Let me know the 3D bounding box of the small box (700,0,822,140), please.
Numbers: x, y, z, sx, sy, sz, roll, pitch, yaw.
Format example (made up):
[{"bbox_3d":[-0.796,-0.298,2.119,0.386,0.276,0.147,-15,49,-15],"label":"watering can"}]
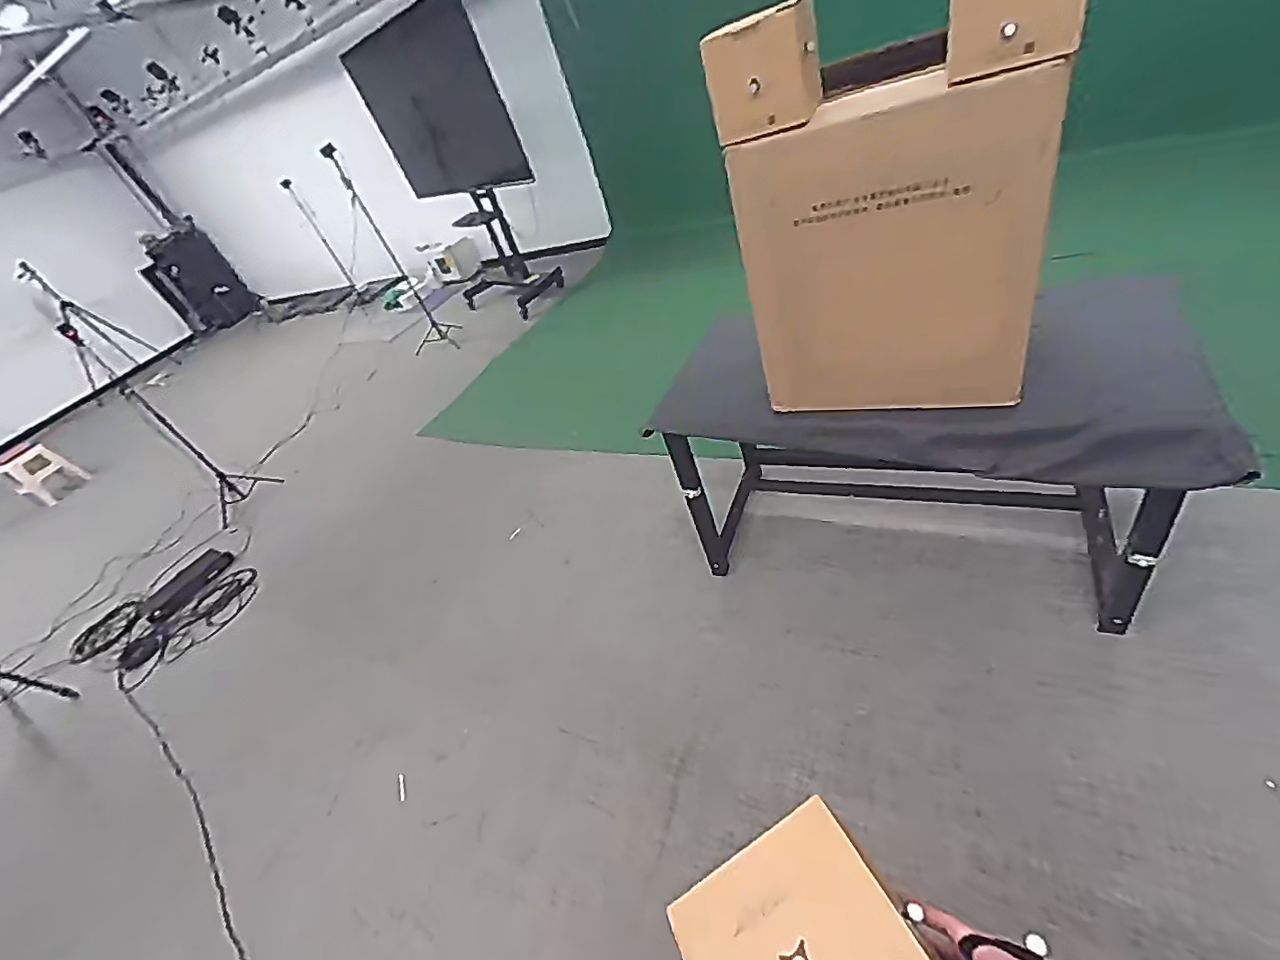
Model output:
[{"bbox_3d":[0.229,-0.751,0.987,0.168,0.176,0.179,2,45,29],"label":"small box"}]

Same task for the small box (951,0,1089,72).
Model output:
[{"bbox_3d":[0.561,-0.739,0.803,0.168,0.176,0.179,3,46,28],"label":"small box"}]

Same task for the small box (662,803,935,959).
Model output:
[{"bbox_3d":[0.151,0.413,0.441,0.168,0.176,0.179,-36,37,-1],"label":"small box"}]
